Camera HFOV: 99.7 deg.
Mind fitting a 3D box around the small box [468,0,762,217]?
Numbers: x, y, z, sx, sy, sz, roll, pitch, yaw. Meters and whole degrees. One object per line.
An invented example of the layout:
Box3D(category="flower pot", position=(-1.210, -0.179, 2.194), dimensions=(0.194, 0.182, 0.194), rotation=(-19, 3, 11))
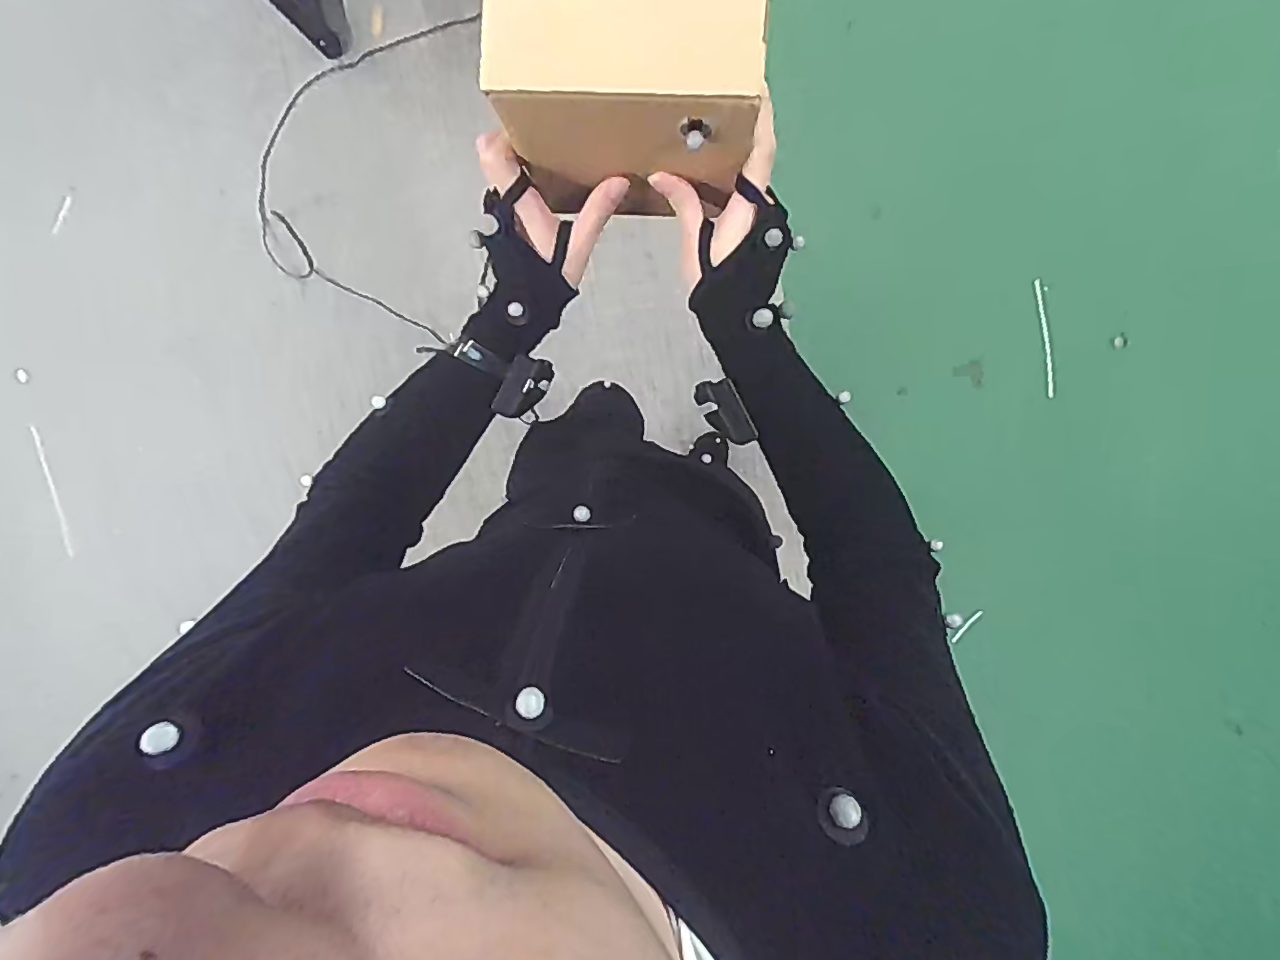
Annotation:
Box3D(category="small box", position=(-0.008, -0.314, 0.399), dimensions=(0.179, 0.176, 0.168), rotation=(3, 92, 3))
